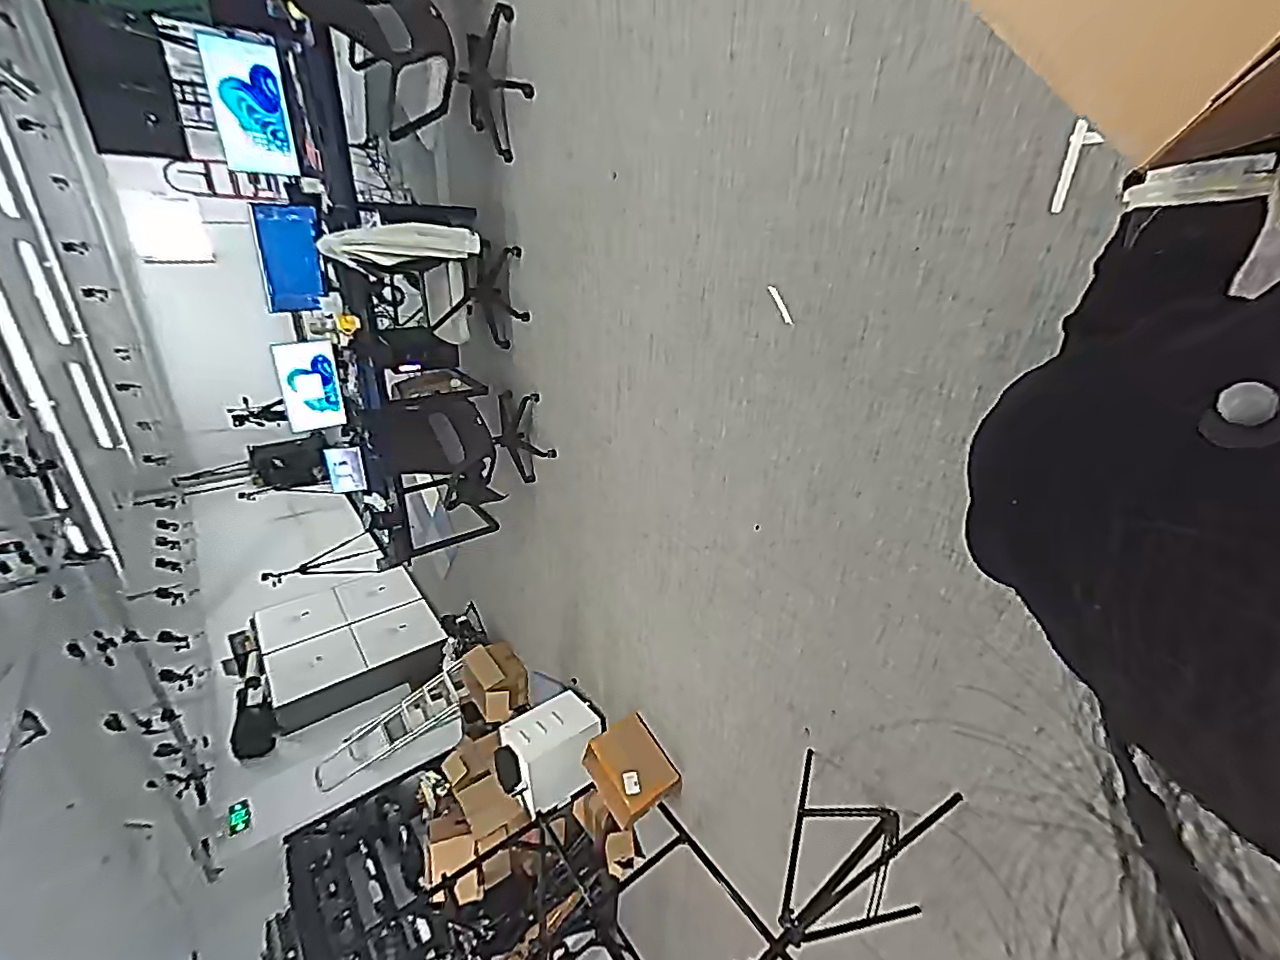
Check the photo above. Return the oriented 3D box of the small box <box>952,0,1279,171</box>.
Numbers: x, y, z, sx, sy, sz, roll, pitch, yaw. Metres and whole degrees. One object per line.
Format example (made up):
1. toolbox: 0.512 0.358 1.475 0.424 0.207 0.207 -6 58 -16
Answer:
1. small box: 0.275 -0.272 0.224 0.168 0.176 0.179 109 138 -65
